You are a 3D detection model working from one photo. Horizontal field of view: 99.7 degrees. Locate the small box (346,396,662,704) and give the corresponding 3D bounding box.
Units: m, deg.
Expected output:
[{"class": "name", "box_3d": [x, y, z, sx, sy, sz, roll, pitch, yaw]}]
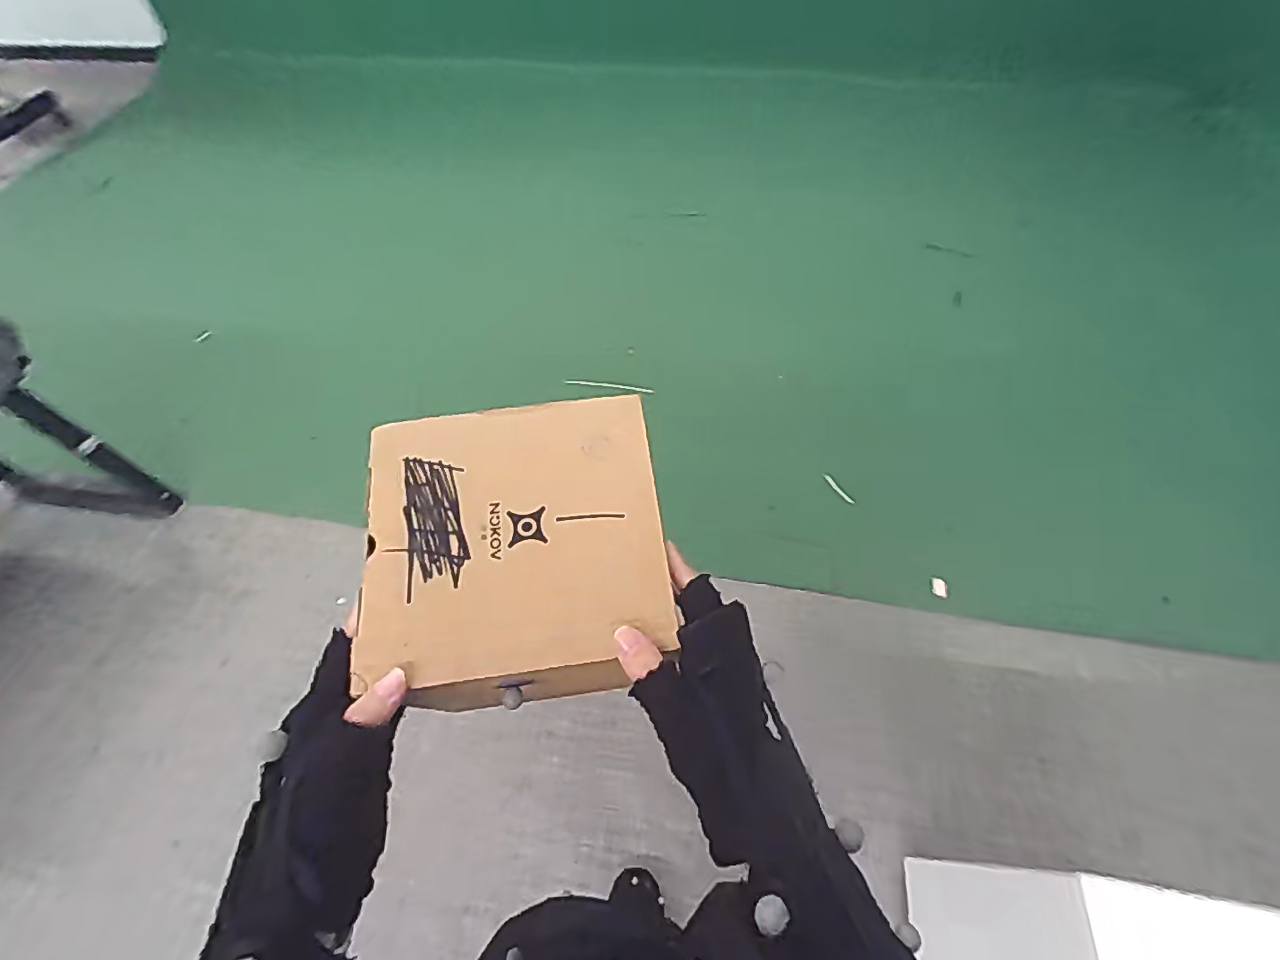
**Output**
[{"class": "small box", "box_3d": [-0.082, 0.062, 0.399, 0.179, 0.176, 0.168, -8, 64, -4]}]
